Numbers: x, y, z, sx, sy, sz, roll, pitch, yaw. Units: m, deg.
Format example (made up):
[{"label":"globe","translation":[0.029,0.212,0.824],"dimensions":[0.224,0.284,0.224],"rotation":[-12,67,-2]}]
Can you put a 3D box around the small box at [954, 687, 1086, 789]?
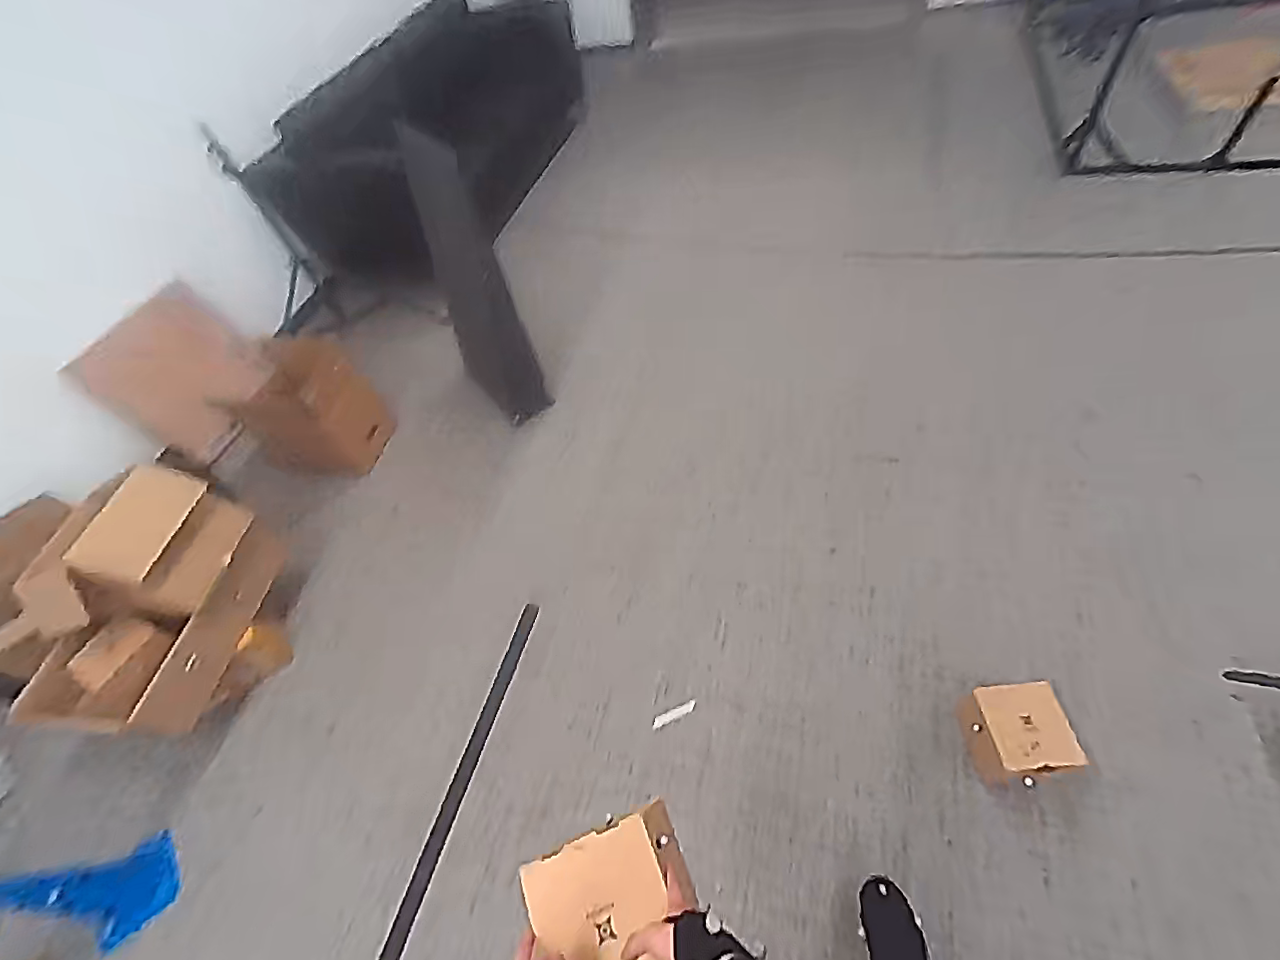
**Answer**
[{"label":"small box","translation":[0.863,0.599,1.252],"dimensions":[0.168,0.176,0.179],"rotation":[-8,52,6]}]

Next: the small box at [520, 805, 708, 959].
[{"label":"small box","translation":[-0.024,0.538,0.677],"dimensions":[0.168,0.176,0.179],"rotation":[-24,62,0]}]
